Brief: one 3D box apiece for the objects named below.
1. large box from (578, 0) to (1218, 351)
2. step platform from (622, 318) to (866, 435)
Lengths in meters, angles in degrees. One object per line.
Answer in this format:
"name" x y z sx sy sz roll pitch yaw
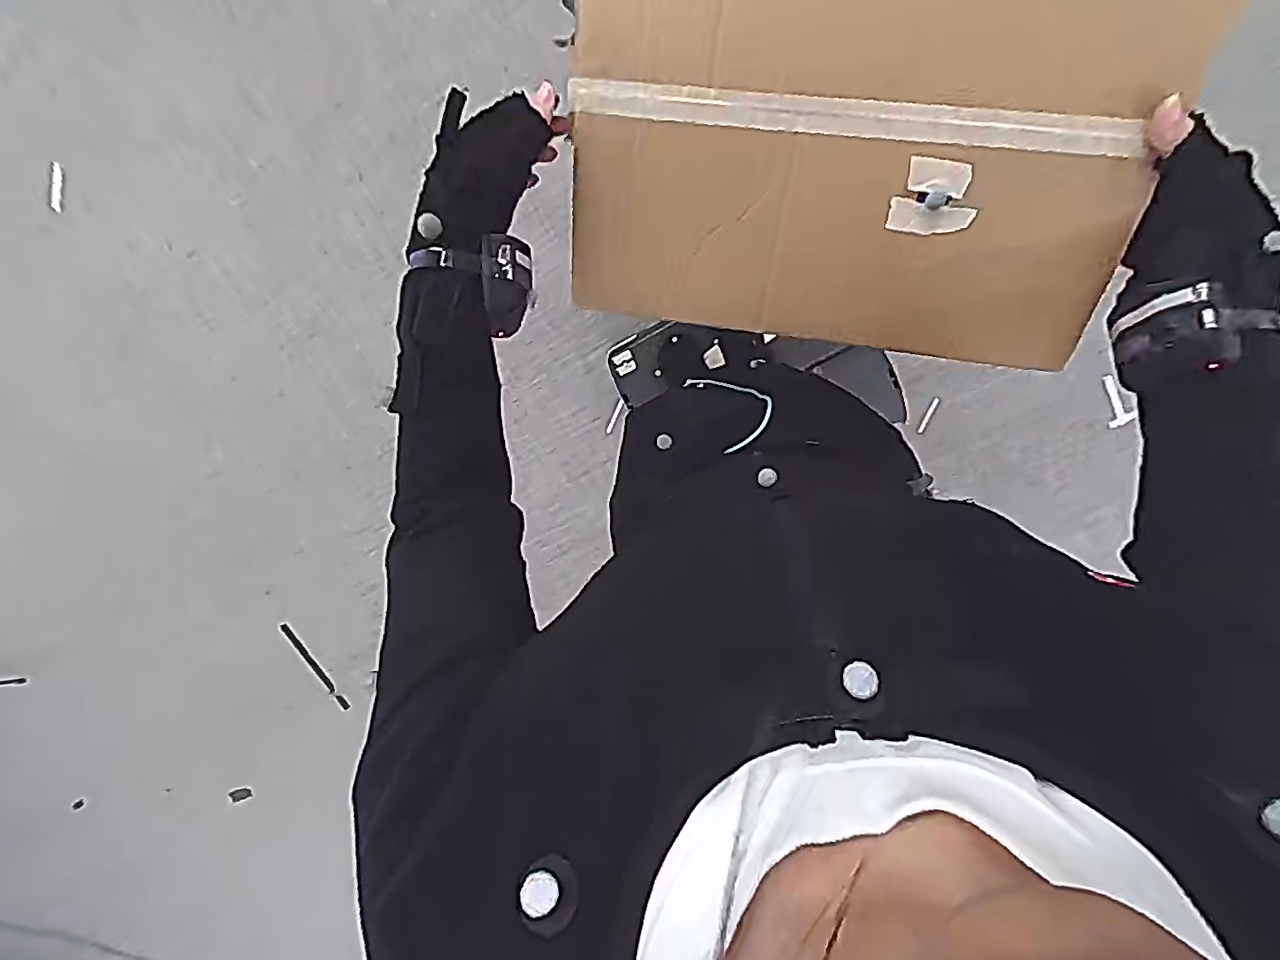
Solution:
"large box" 0.173 -0.332 0.510 0.408 0.320 0.320 8 122 7
"step platform" 0.294 -0.391 1.435 0.684 0.204 0.286 -28 105 11
